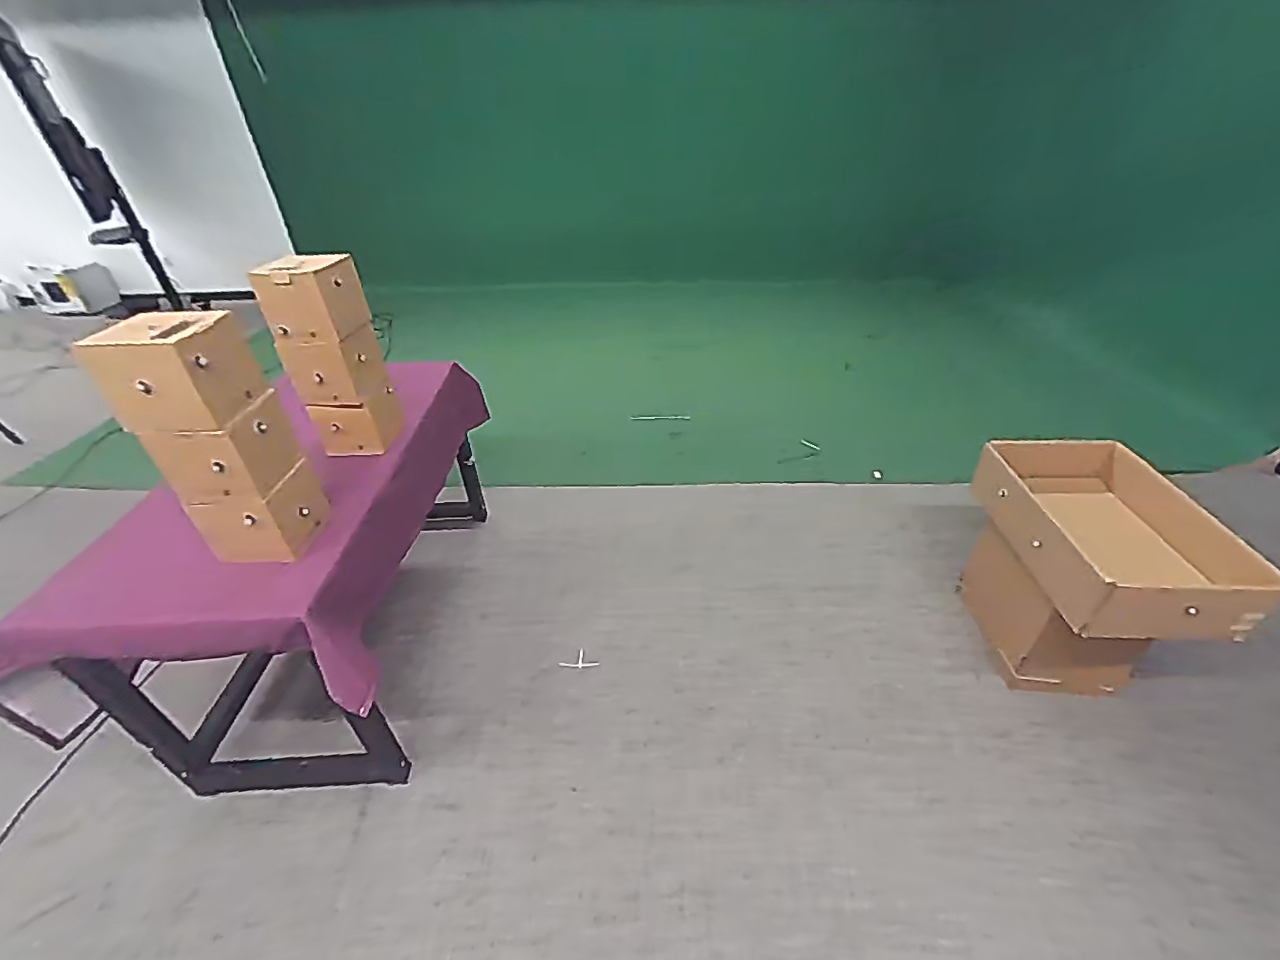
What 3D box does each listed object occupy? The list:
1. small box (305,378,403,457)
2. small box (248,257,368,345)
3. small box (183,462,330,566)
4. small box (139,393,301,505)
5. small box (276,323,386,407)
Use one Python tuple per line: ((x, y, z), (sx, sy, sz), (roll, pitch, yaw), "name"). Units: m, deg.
((-0.798, -0.174, 1.533), (0.168, 0.176, 0.179), (-2, 35, 1), "small box")
((-0.810, -0.443, 1.344), (0.168, 0.176, 0.179), (0, 34, 4), "small box")
((-0.823, 0.074, 1.186), (0.179, 0.176, 0.168), (-1, 35, 2), "small box")
((-0.830, -0.061, 1.096), (0.168, 0.176, 0.179), (-1, 35, 0), "small box")
((-0.805, -0.303, 1.432), (0.168, 0.176, 0.179), (0, 36, 4), "small box")
